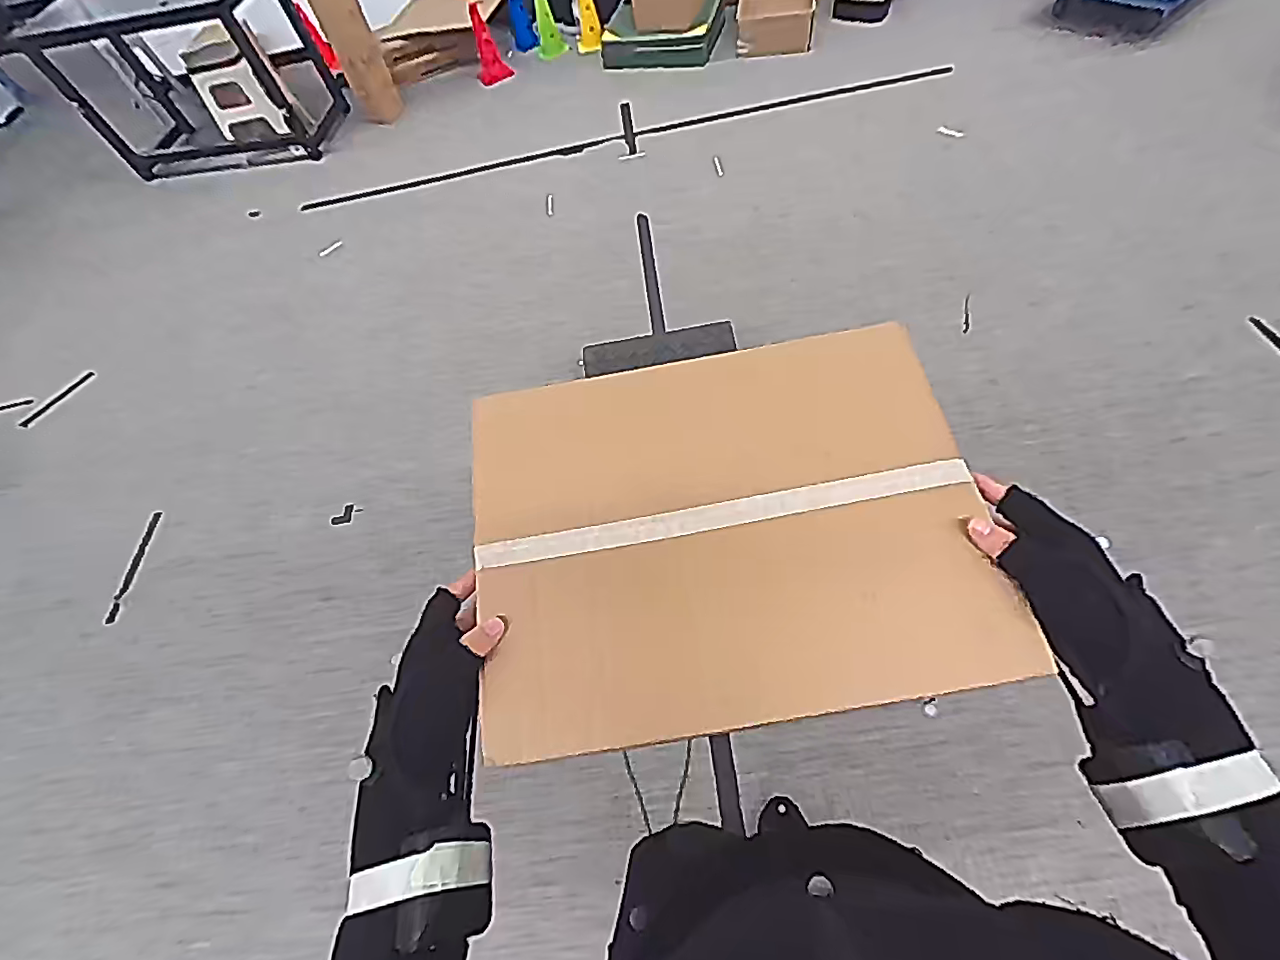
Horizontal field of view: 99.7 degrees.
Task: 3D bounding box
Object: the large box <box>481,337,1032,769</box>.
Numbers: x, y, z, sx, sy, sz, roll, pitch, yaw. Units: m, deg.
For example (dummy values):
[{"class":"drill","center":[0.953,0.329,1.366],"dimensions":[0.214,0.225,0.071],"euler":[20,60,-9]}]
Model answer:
[{"class":"large box","center":[0.081,0.095,0.586],"dimensions":[0.408,0.320,0.320],"euler":[-10,65,1]}]
